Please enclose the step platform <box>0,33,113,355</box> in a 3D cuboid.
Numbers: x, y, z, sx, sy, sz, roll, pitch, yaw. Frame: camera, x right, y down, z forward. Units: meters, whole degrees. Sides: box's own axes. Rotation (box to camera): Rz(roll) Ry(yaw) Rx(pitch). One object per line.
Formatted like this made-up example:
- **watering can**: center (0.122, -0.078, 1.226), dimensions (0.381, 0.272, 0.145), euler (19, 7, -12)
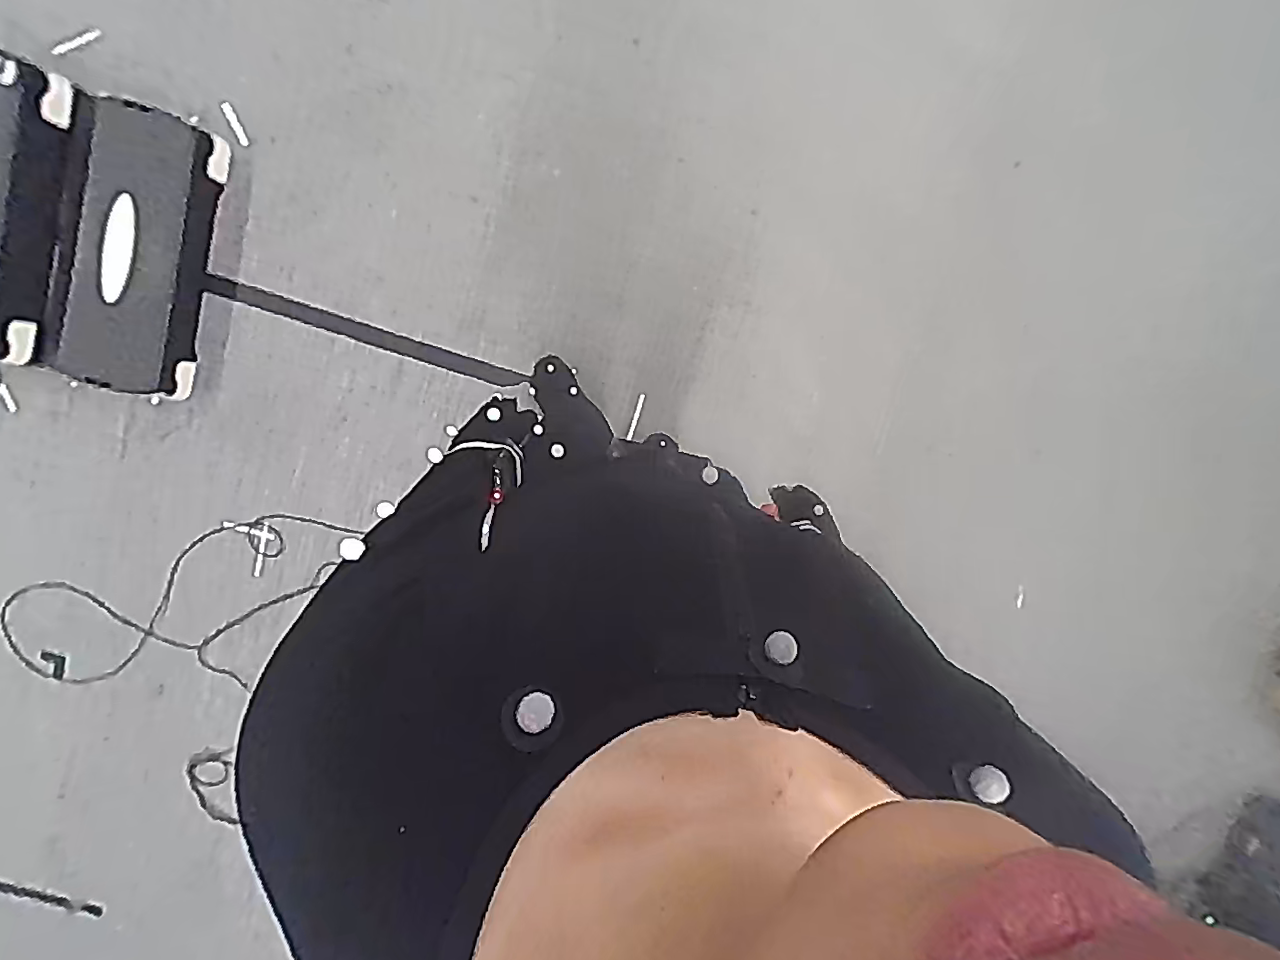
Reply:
- **step platform**: center (-1.493, -0.652, 1.249), dimensions (0.286, 0.204, 0.684), euler (15, 96, -4)
